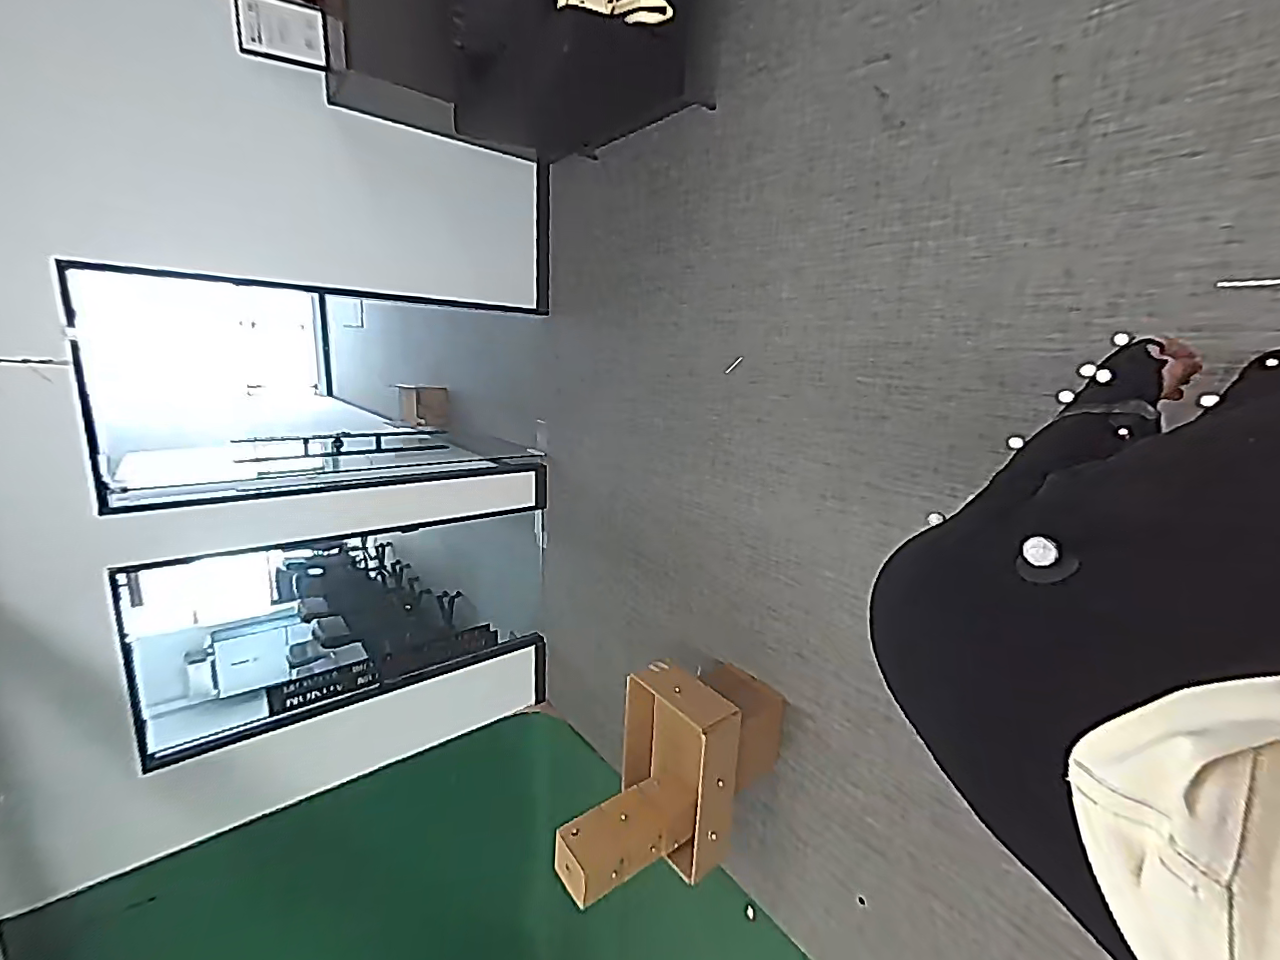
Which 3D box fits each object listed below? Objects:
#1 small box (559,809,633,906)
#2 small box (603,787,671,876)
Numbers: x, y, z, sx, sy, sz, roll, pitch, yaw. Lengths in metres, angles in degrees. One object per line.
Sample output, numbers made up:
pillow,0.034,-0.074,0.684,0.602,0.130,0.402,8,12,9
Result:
small box,-0.146,1.219,1.769,0.179,0.176,0.168,24,116,48
small box,-0.016,1.200,1.868,0.179,0.176,0.168,21,113,49
